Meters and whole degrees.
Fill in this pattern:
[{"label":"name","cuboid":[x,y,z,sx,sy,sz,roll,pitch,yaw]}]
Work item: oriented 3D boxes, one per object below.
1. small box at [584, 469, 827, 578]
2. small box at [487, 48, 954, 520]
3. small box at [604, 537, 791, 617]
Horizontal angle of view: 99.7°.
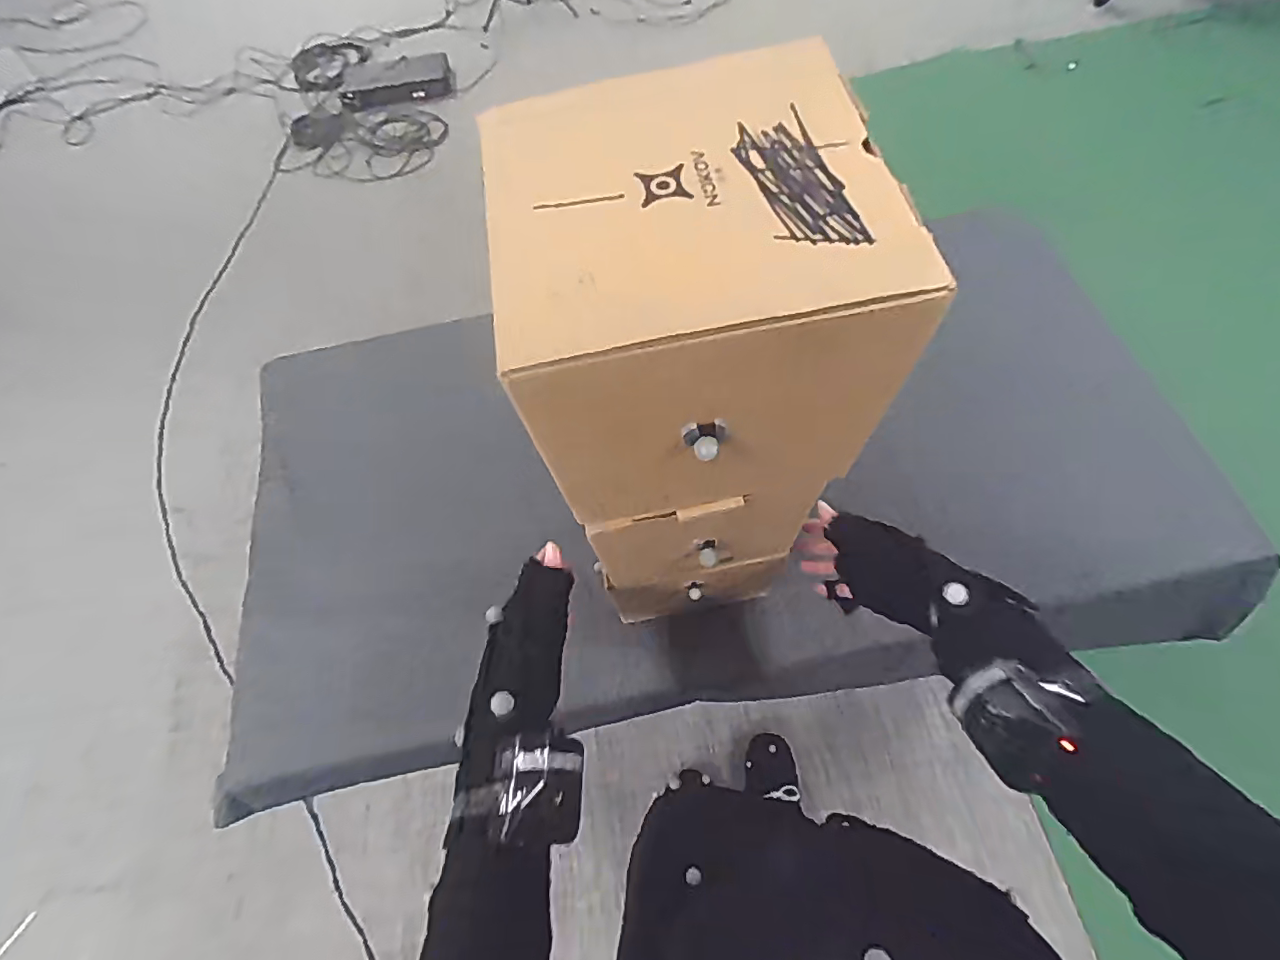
[{"label":"small box","cuboid":[0.035,-0.025,0.458,0.168,0.176,0.179,-13,66,-1]},{"label":"small box","cuboid":[0.028,-0.091,0.307,0.179,0.176,0.168,-11,65,1]},{"label":"small box","cuboid":[0.048,0.046,0.605,0.179,0.176,0.168,-11,66,-2]}]
